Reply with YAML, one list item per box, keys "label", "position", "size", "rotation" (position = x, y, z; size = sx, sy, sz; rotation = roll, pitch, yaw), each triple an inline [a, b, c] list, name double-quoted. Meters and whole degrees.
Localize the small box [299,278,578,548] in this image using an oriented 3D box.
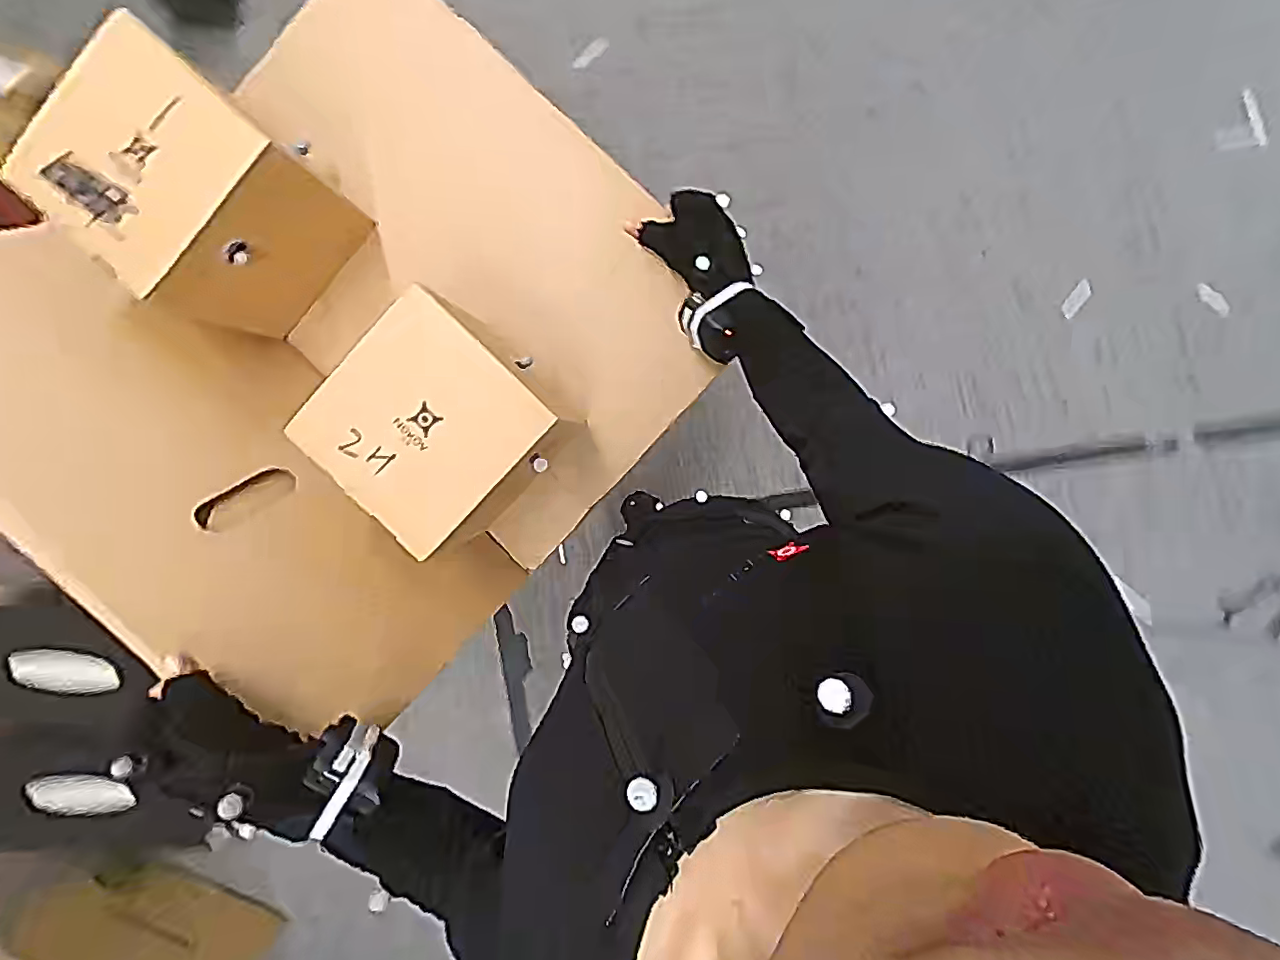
- label: "small box"
  position: [-0.178, -0.062, 0.545]
  size: [0.179, 0.176, 0.168]
  rotation: [-45, 91, 5]
